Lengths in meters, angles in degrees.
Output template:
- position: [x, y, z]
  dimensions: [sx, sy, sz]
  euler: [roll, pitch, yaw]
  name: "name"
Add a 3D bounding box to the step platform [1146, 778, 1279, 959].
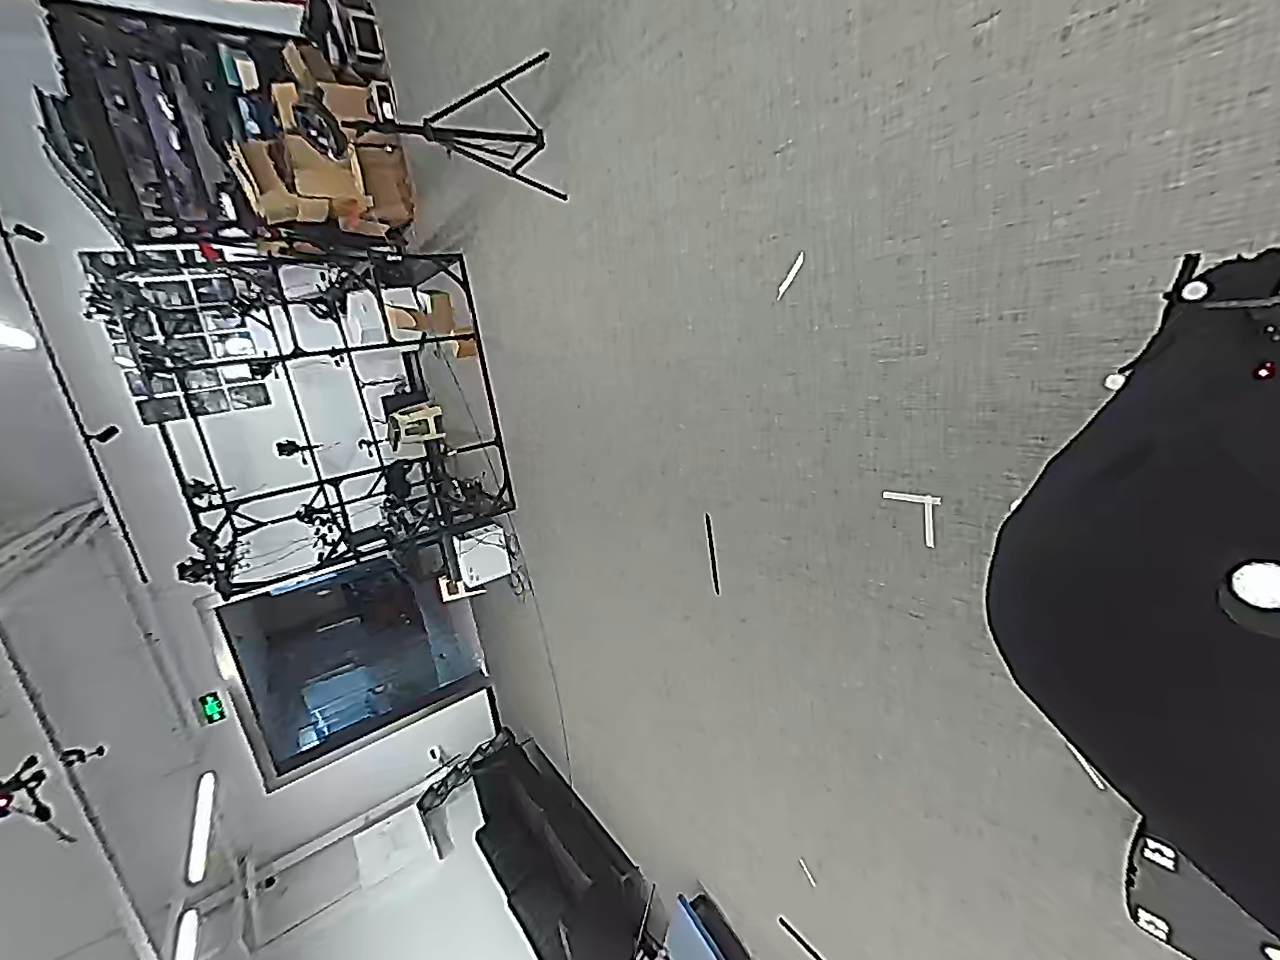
- position: [1.360, 0.860, 0.953]
  dimensions: [0.684, 0.204, 0.286]
  euler: [12, 114, 56]
  name: "step platform"
